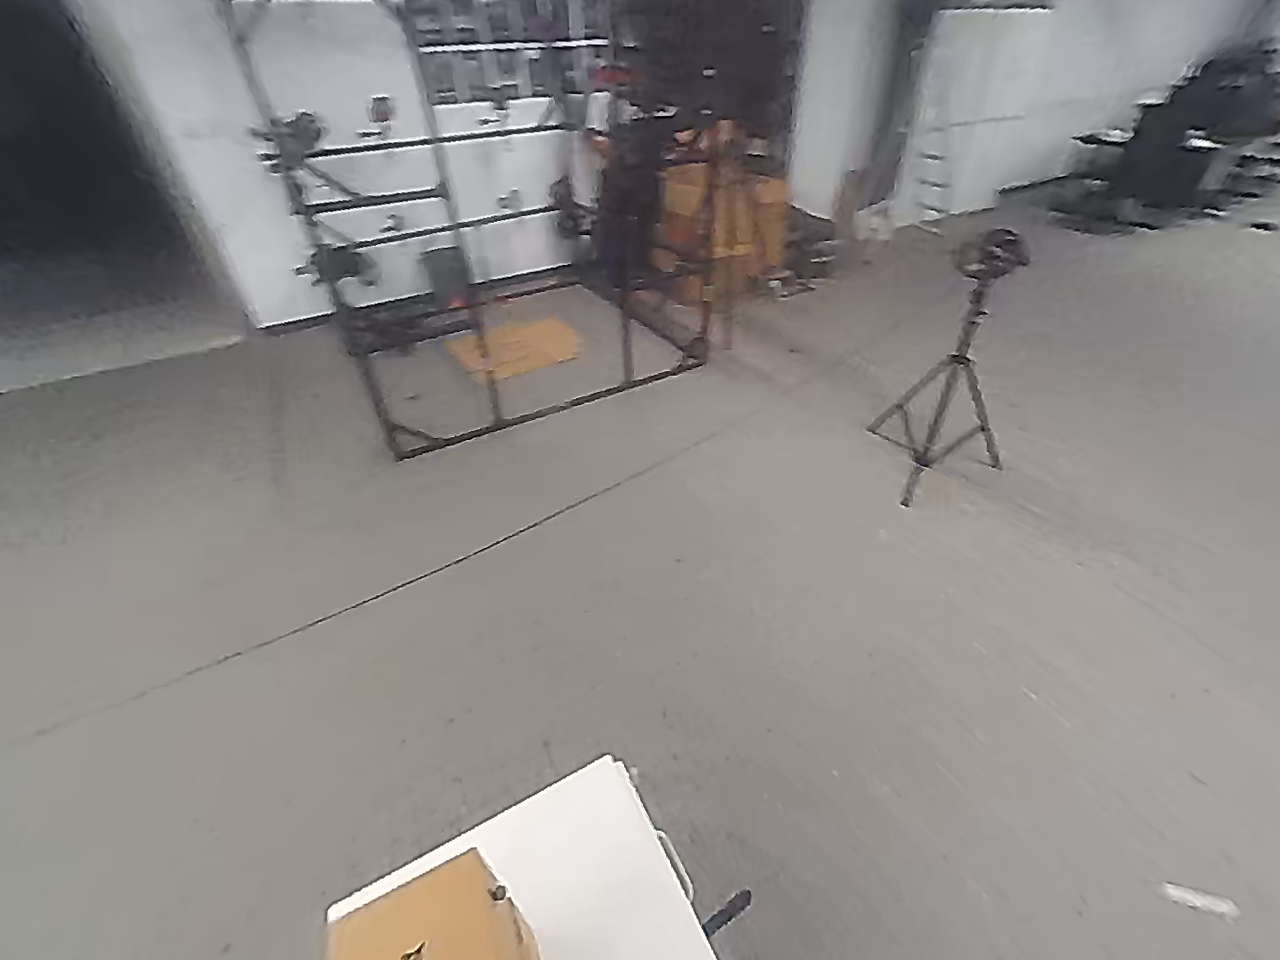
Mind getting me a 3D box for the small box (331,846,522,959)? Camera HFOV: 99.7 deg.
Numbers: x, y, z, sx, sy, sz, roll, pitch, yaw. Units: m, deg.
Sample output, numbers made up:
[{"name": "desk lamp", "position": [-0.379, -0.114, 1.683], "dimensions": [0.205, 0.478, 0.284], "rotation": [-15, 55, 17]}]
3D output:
[{"name": "small box", "position": [-0.228, 0.570, 0.608], "dimensions": [0.168, 0.176, 0.179], "rotation": [-19, 40, -18]}]
